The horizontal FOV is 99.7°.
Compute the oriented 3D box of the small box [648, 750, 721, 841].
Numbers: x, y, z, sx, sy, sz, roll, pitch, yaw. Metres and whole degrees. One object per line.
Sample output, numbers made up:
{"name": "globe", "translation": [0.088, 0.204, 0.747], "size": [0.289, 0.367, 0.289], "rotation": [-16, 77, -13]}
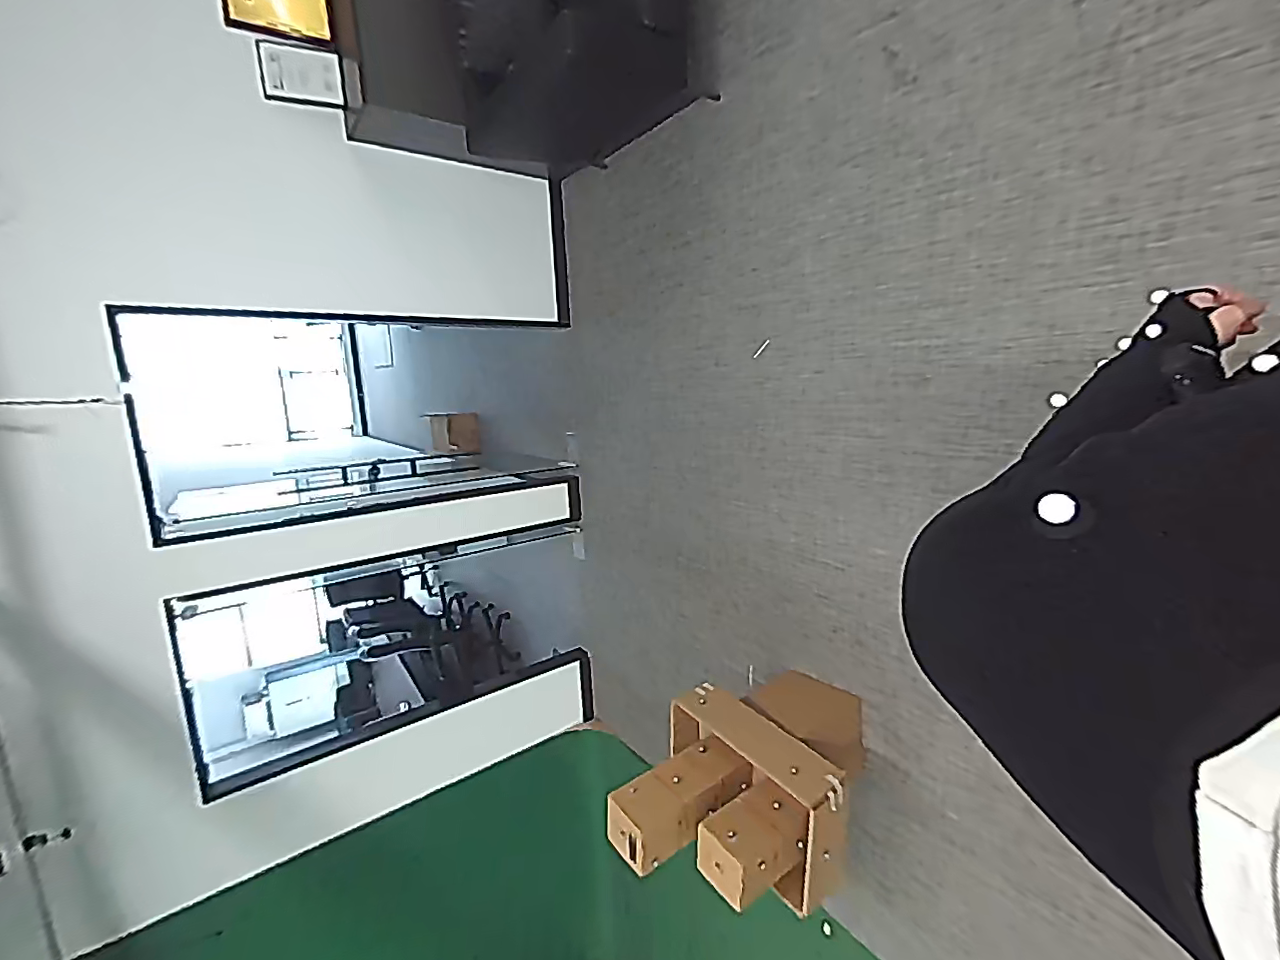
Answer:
{"name": "small box", "translation": [0.145, 1.032, 1.791], "size": [0.179, 0.176, 0.168], "rotation": [14, 109, 50]}

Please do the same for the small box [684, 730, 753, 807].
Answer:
{"name": "small box", "translation": [0.270, 1.008, 1.890], "size": [0.179, 0.176, 0.168], "rotation": [16, 111, 51]}

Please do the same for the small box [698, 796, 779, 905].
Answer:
{"name": "small box", "translation": [0.291, 1.080, 1.596], "size": [0.179, 0.176, 0.168], "rotation": [17, 111, 52]}
